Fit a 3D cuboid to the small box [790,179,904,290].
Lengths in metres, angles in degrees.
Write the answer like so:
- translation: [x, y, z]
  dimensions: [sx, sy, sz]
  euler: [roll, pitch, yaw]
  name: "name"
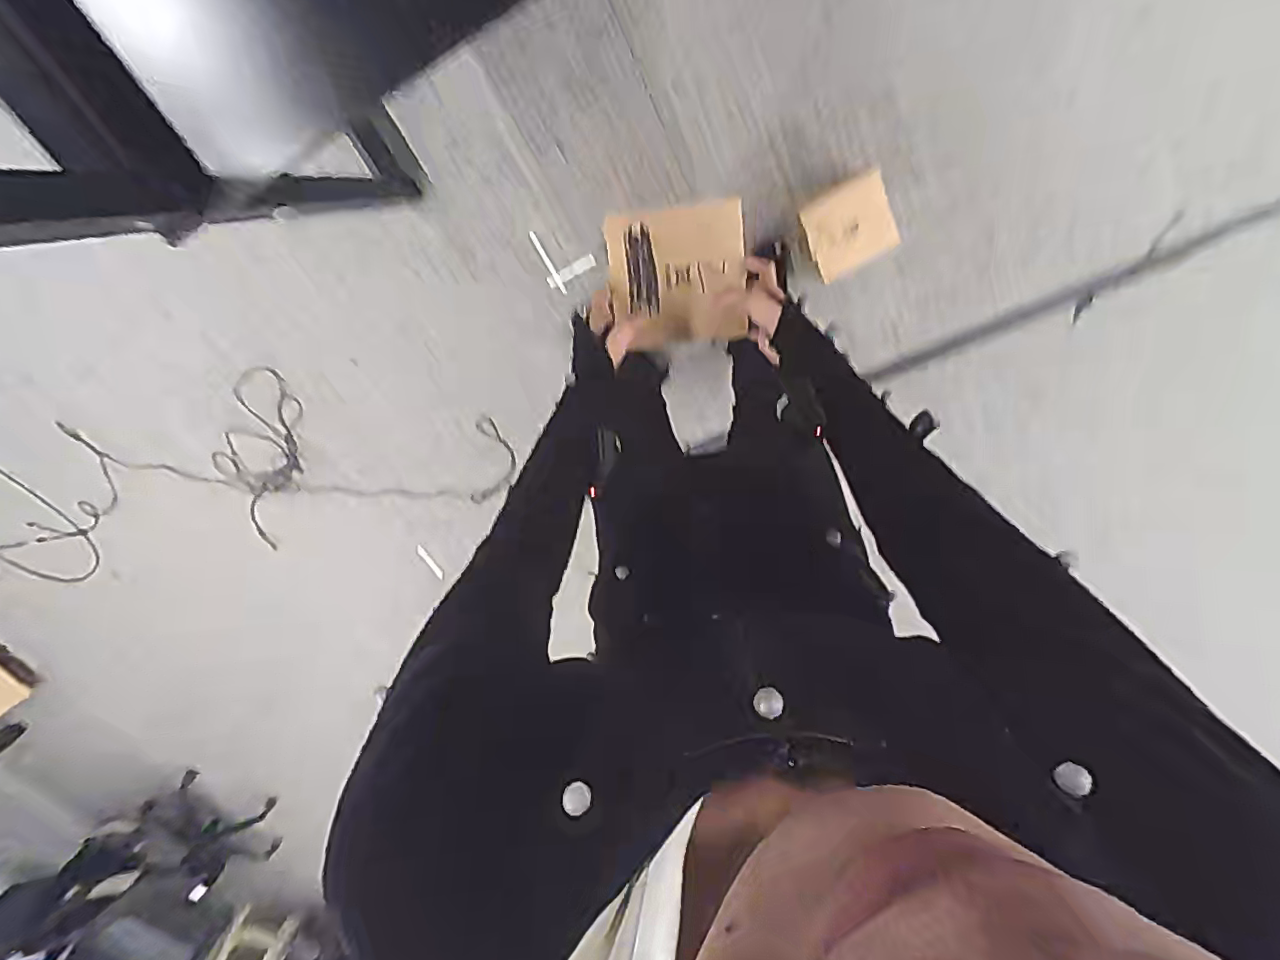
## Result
- translation: [0.466, -0.563, 1.237]
  dimensions: [0.179, 0.176, 0.168]
  euler: [-25, 113, 16]
  name: "small box"
